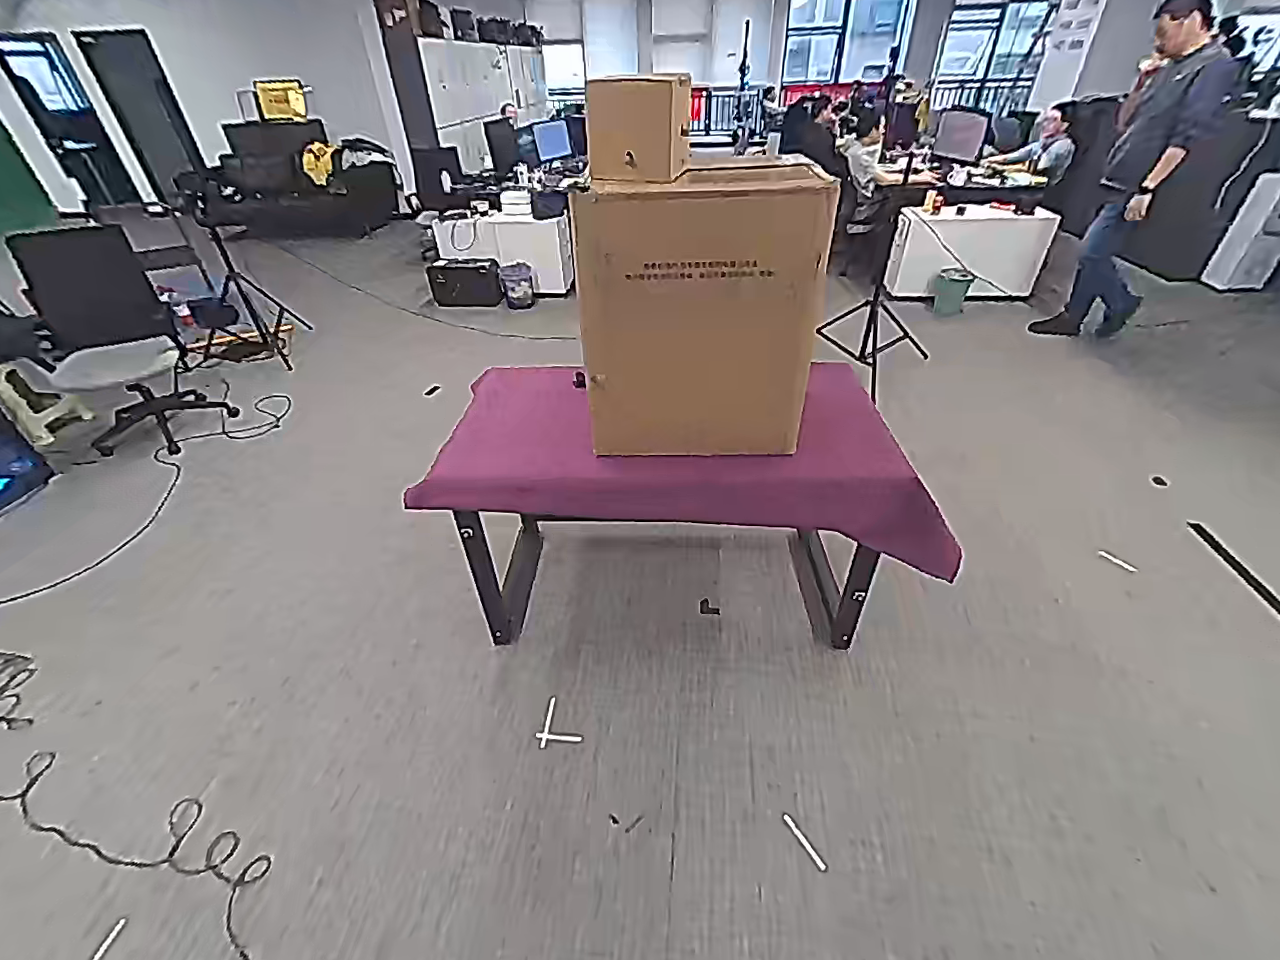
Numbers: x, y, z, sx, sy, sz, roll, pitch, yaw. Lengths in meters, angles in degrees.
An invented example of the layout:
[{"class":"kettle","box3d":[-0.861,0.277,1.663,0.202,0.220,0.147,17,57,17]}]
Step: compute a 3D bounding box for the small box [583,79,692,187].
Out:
[{"class":"small box","box3d":[0.000,-0.709,1.106,0.179,0.176,0.168,10,40,14]}]
